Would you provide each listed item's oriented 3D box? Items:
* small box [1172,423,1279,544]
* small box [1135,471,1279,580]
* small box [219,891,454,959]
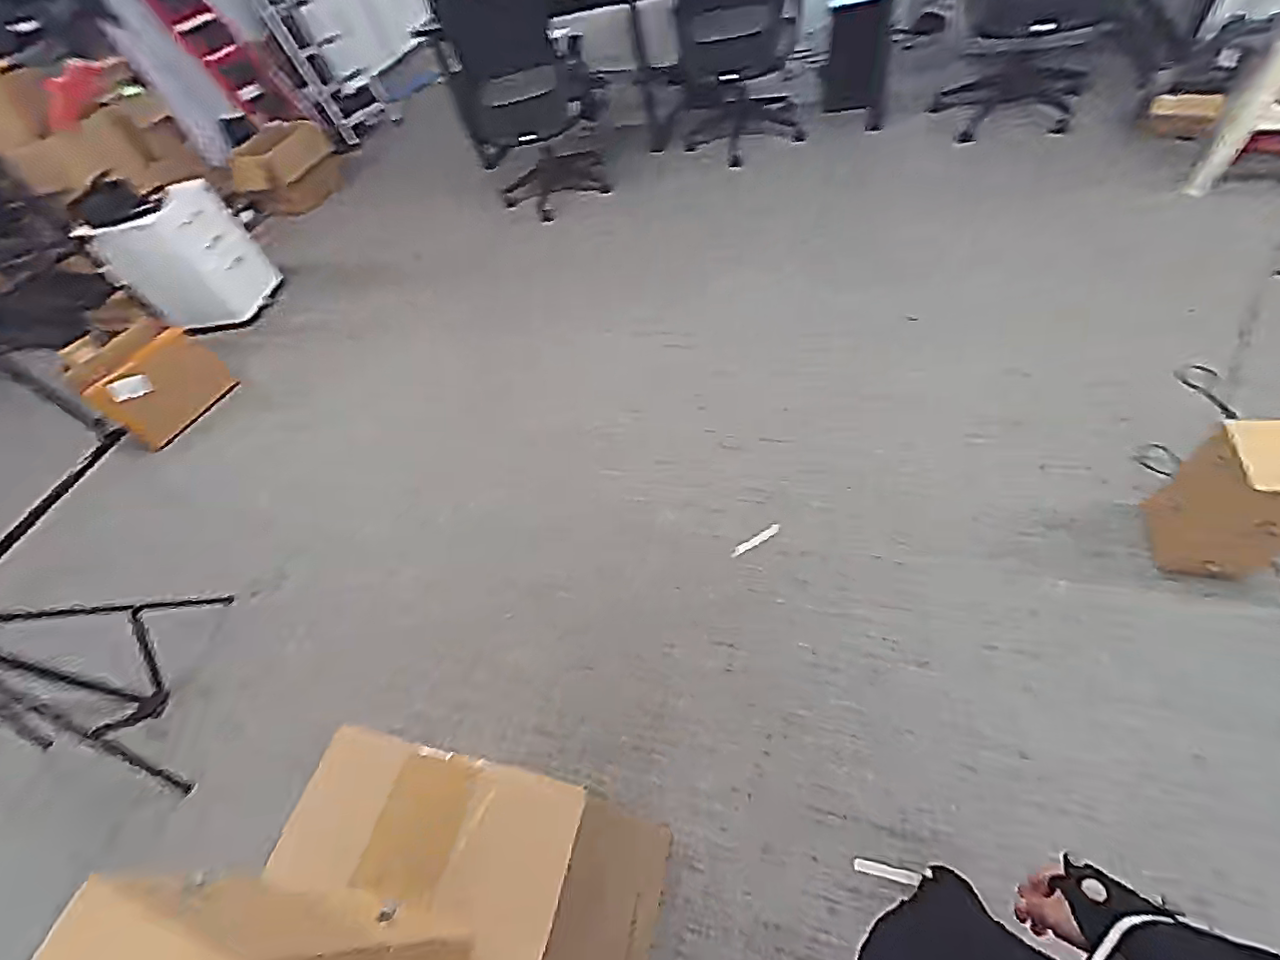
[{"bbox_3d":[1.235,0.007,1.091,0.168,0.176,0.179,4,56,18],"label":"small box"},{"bbox_3d":[1.269,0.103,1.220,0.168,0.176,0.179,5,57,19],"label":"small box"},{"bbox_3d":[-0.309,0.530,0.528,0.168,0.176,0.179,5,56,18],"label":"small box"}]
